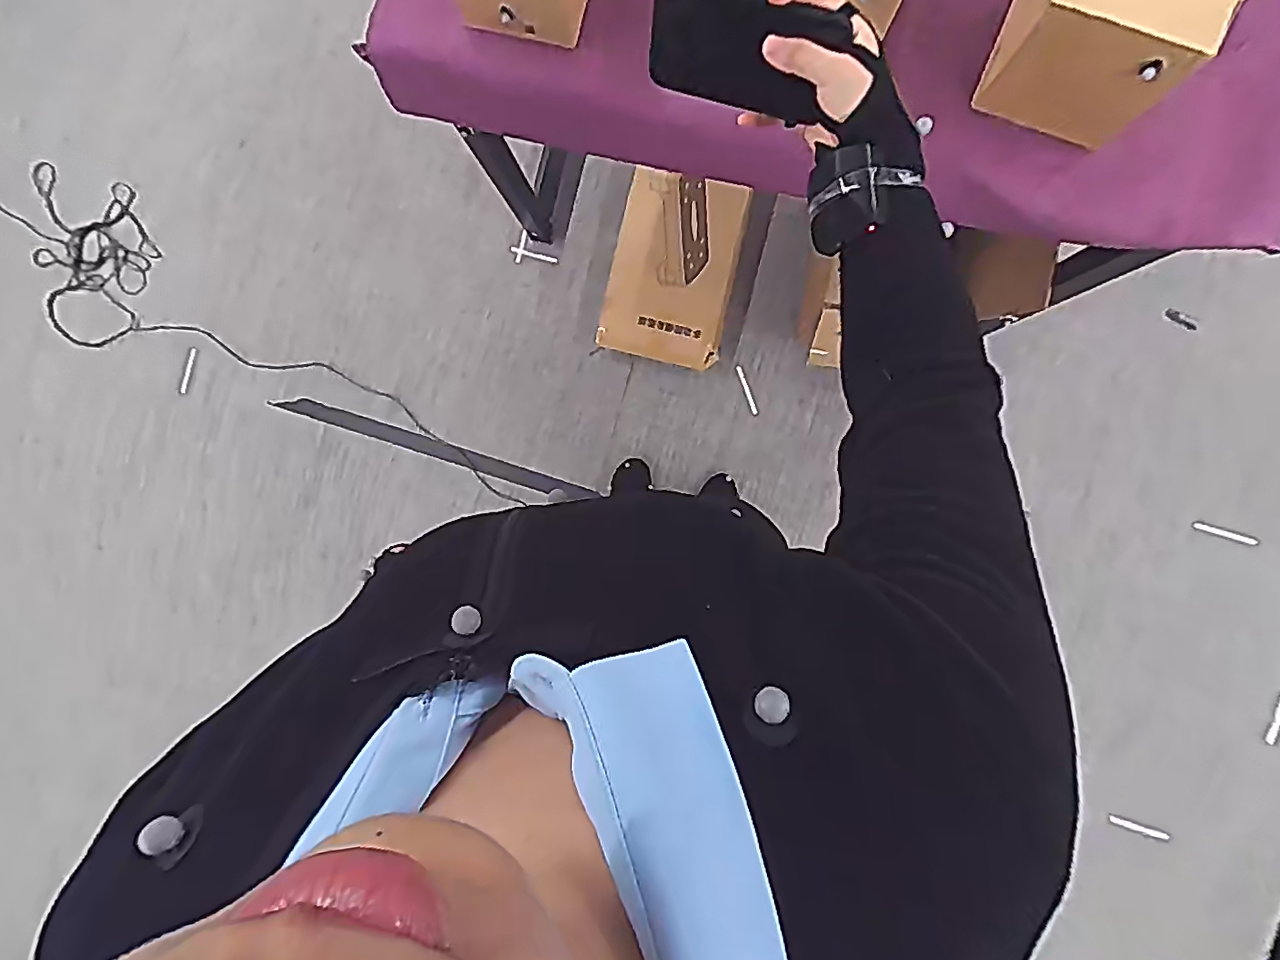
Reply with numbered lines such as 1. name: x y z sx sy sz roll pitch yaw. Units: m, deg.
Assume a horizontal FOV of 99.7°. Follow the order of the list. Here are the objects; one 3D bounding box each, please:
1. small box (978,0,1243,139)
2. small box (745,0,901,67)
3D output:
1. small box: 0.538 -0.537 0.623 0.179 0.176 0.168 22 93 3
2. small box: 0.237 -0.640 0.641 0.179 0.176 0.168 14 90 4
